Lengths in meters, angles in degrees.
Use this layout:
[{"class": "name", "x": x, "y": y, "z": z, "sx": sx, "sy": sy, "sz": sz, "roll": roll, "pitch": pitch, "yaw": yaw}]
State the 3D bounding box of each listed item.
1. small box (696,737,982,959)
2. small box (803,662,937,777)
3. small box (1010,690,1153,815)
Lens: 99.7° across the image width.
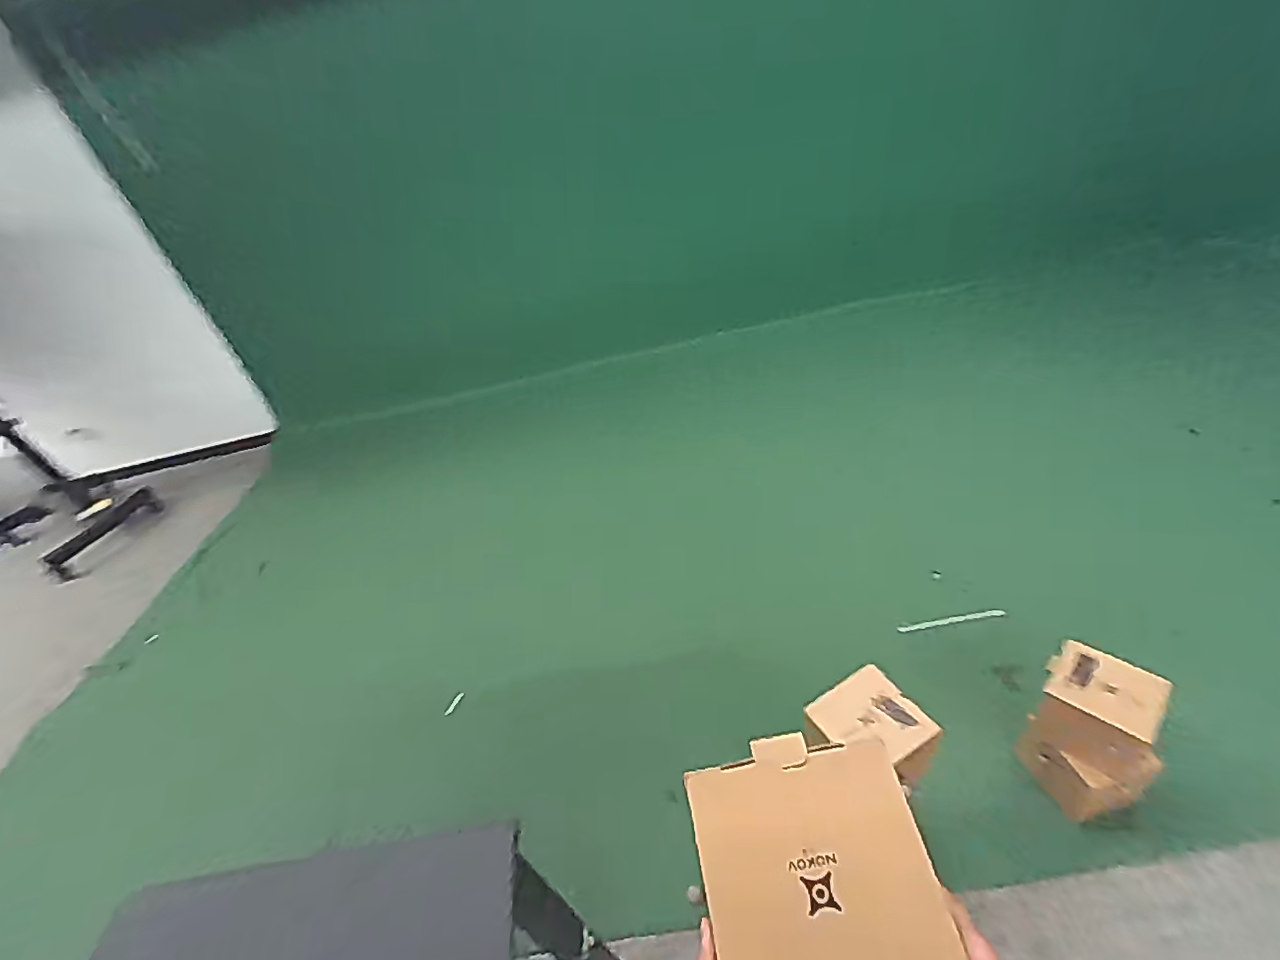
[{"class": "small box", "x": 0.148, "y": 0.334, "z": 0.444, "sx": 0.168, "sy": 0.176, "sz": 0.179, "roll": -12, "pitch": 51, "yaw": 2}, {"class": "small box", "x": 0.436, "y": 0.500, "z": 1.052, "sx": 0.179, "sy": 0.176, "sz": 0.168, "roll": -27, "pitch": 39, "yaw": -14}, {"class": "small box", "x": 0.999, "y": 0.626, "z": 1.245, "sx": 0.168, "sy": 0.176, "sz": 0.179, "roll": -17, "pitch": 36, "yaw": -4}]
